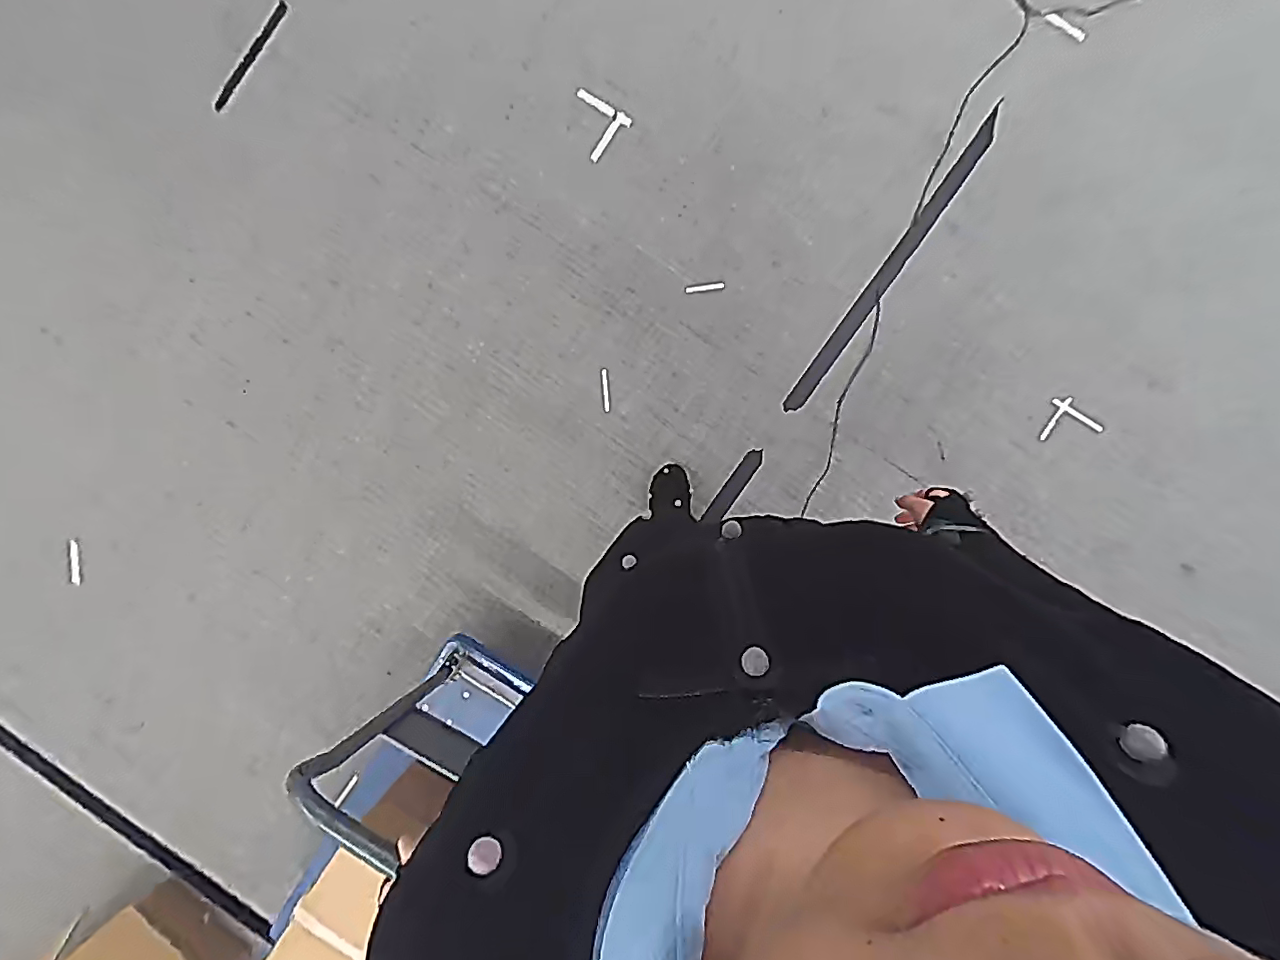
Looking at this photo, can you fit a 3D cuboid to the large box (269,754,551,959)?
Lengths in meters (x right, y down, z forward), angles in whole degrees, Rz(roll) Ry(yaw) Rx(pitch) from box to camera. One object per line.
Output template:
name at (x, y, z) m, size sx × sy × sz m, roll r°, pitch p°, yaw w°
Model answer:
large box at (-0.463, 0.895, 1.176) m, size 0.408 × 0.320 × 0.320 m, roll 33°, pitch 90°, yaw 1°
